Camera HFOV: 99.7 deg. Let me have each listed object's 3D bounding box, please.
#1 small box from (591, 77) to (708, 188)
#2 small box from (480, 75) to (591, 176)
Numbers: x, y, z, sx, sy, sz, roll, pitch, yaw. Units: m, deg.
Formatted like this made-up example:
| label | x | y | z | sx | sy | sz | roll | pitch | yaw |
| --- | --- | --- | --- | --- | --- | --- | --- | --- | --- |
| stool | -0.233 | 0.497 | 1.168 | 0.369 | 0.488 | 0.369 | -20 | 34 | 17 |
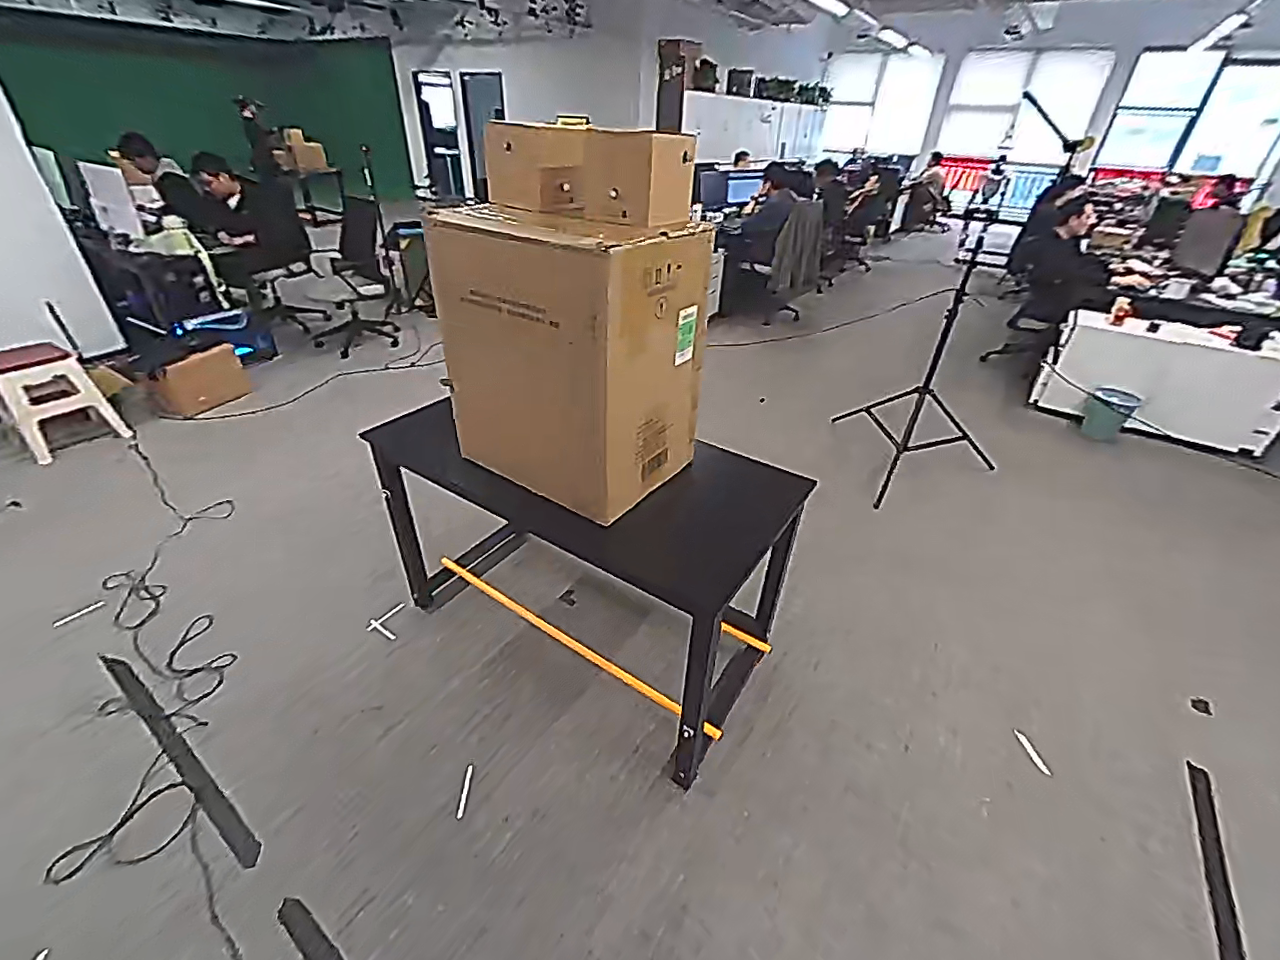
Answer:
| label | x | y | z | sx | sy | sz | roll | pitch | yaw |
| --- | --- | --- | --- | --- | --- | --- | --- | --- | --- |
| small box | 0.015 | -0.683 | 1.070 | 0.168 | 0.176 | 0.179 | 21 | 36 | 27 |
| small box | -0.228 | -0.777 | 1.191 | 0.179 | 0.176 | 0.168 | 25 | 39 | 26 |
